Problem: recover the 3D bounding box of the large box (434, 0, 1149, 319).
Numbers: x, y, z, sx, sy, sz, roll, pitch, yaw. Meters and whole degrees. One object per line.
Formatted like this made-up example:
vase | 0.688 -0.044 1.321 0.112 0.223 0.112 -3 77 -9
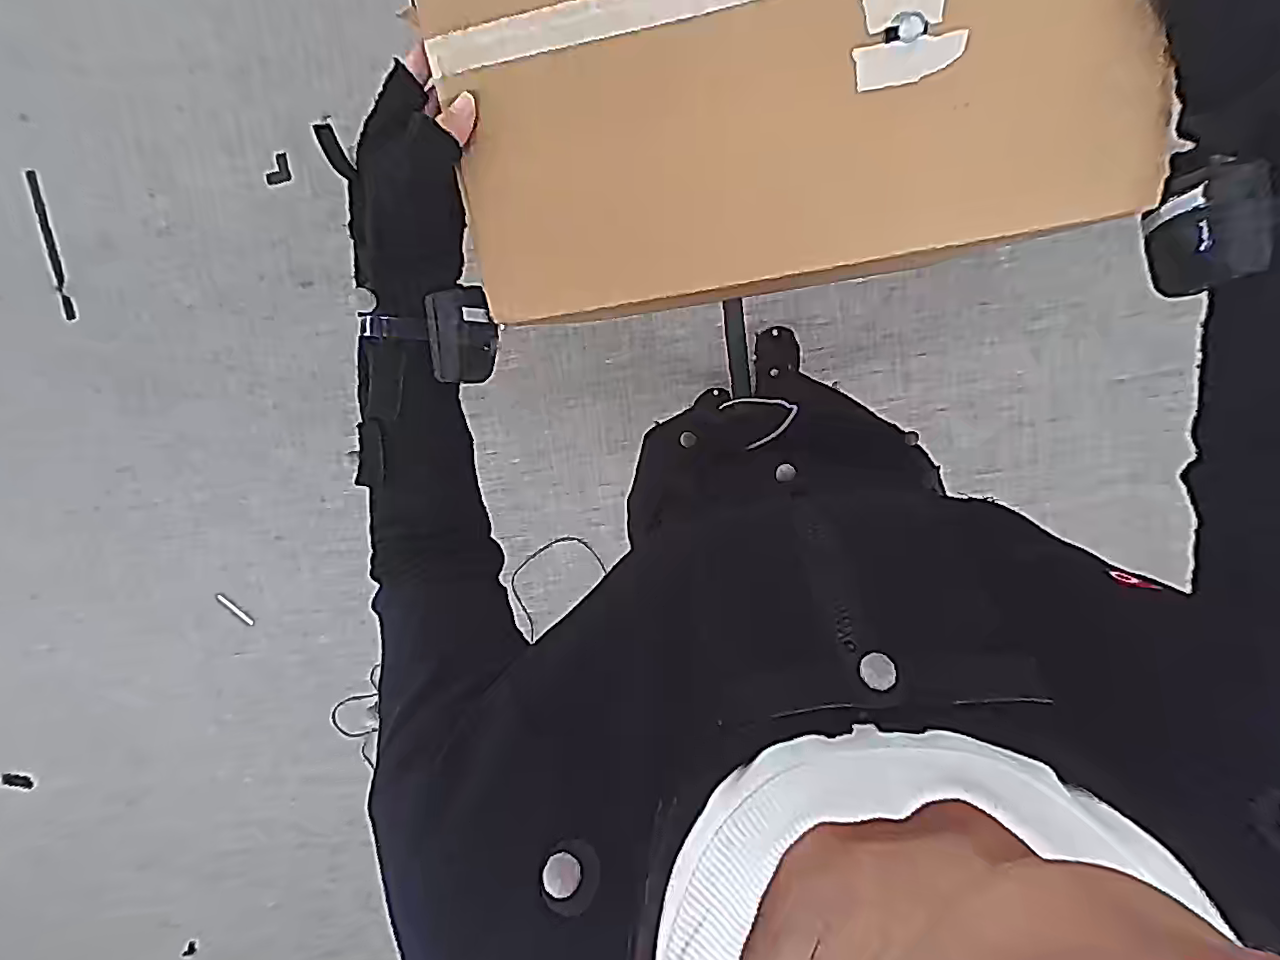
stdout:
large box | 0.086 -0.329 0.451 0.408 0.320 0.320 -8 106 7
